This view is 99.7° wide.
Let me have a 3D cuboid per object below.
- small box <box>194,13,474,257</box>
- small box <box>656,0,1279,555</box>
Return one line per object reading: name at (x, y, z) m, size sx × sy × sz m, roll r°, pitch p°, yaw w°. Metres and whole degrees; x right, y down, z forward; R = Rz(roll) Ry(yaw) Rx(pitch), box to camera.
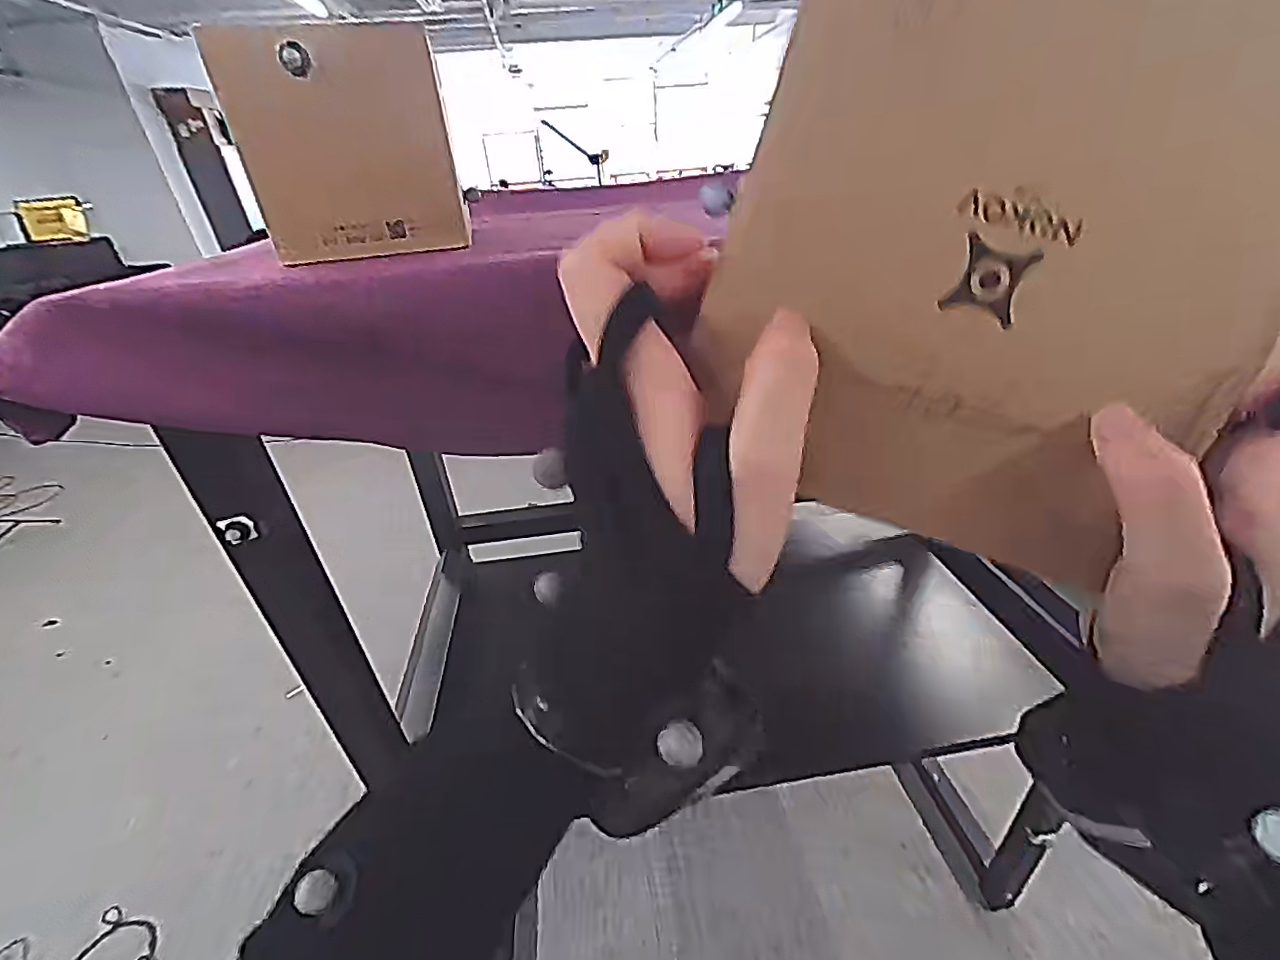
small box at (-0.261, -0.315, 0.516) m, size 0.168 × 0.176 × 0.179 m, roll -11°, pitch 31°, yaw -11°
small box at (0.114, -0.097, 0.241) m, size 0.168 × 0.179 × 0.176 m, roll 19°, pitch 16°, yaw 2°
